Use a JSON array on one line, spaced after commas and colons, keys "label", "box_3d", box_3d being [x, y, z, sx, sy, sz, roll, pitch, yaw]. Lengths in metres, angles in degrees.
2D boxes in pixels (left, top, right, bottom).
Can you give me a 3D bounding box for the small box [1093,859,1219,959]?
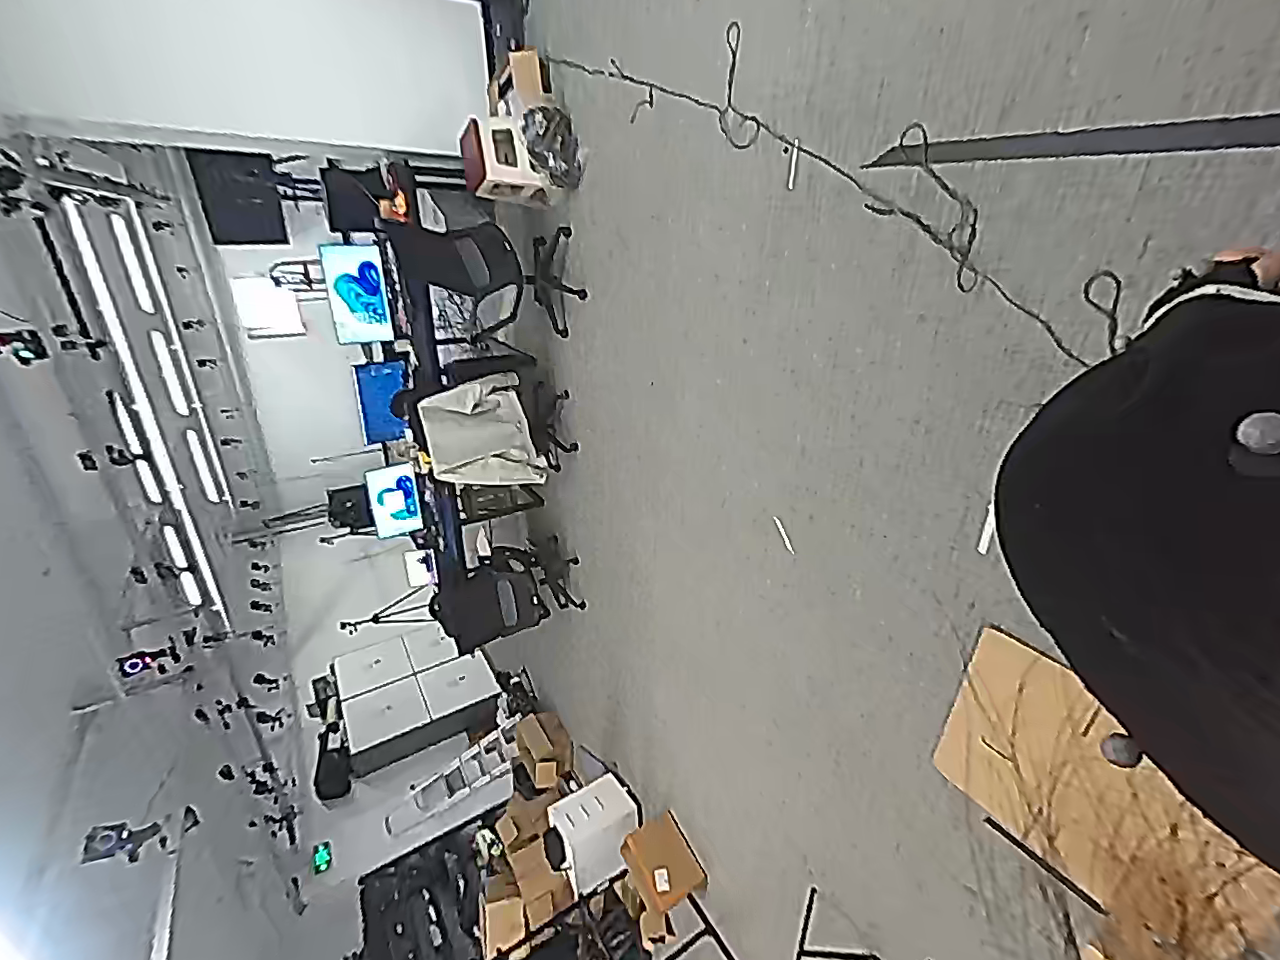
[{"label": "small box", "box_3d": [1.220, 1.063, 1.279, 0.168, 0.176, 0.179, 21, 120, 53]}]
